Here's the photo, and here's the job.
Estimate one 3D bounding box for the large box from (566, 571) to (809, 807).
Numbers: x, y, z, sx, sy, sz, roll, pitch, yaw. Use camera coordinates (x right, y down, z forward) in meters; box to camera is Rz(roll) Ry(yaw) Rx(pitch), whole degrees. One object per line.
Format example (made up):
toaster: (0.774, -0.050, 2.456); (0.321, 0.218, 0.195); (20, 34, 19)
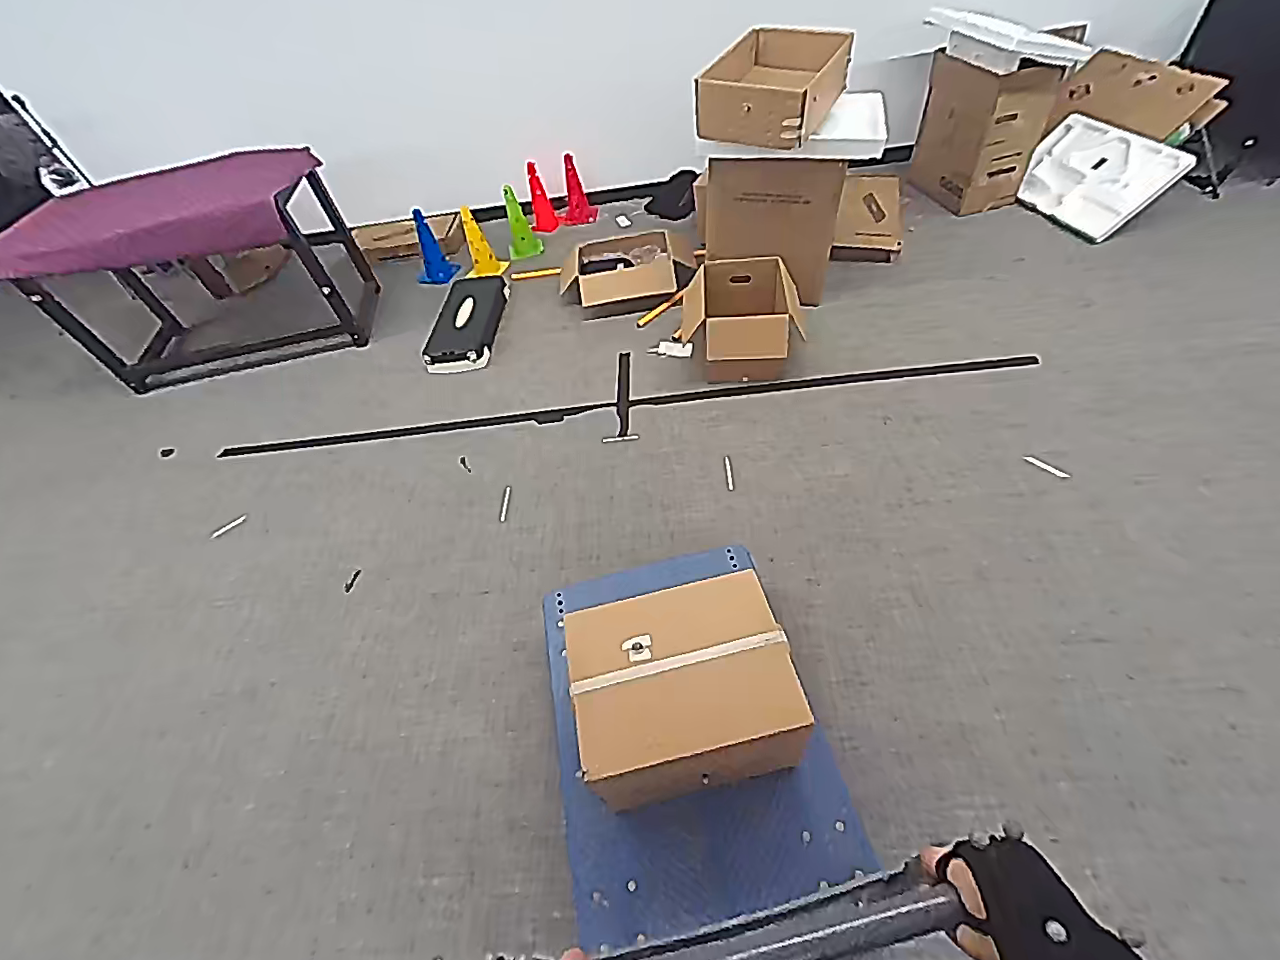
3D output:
large box: (0.092, 0.442, 1.134); (0.408, 0.320, 0.320); (-15, 49, -2)
